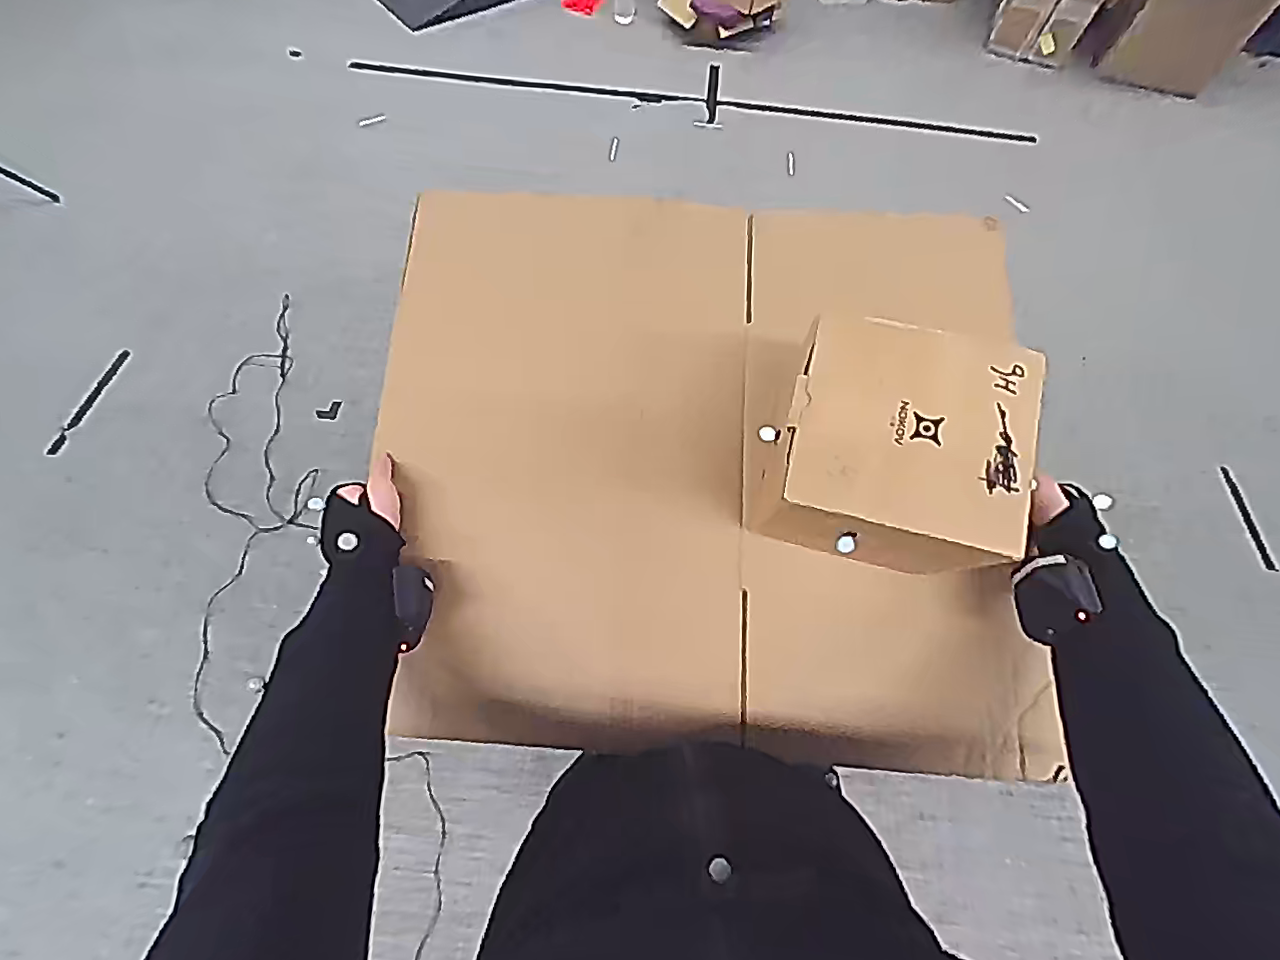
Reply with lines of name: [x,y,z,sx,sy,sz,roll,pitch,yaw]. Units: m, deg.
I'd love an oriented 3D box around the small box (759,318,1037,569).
small box: [0.216,-0.020,0.497,0.179,0.176,0.168,14,77,8]
